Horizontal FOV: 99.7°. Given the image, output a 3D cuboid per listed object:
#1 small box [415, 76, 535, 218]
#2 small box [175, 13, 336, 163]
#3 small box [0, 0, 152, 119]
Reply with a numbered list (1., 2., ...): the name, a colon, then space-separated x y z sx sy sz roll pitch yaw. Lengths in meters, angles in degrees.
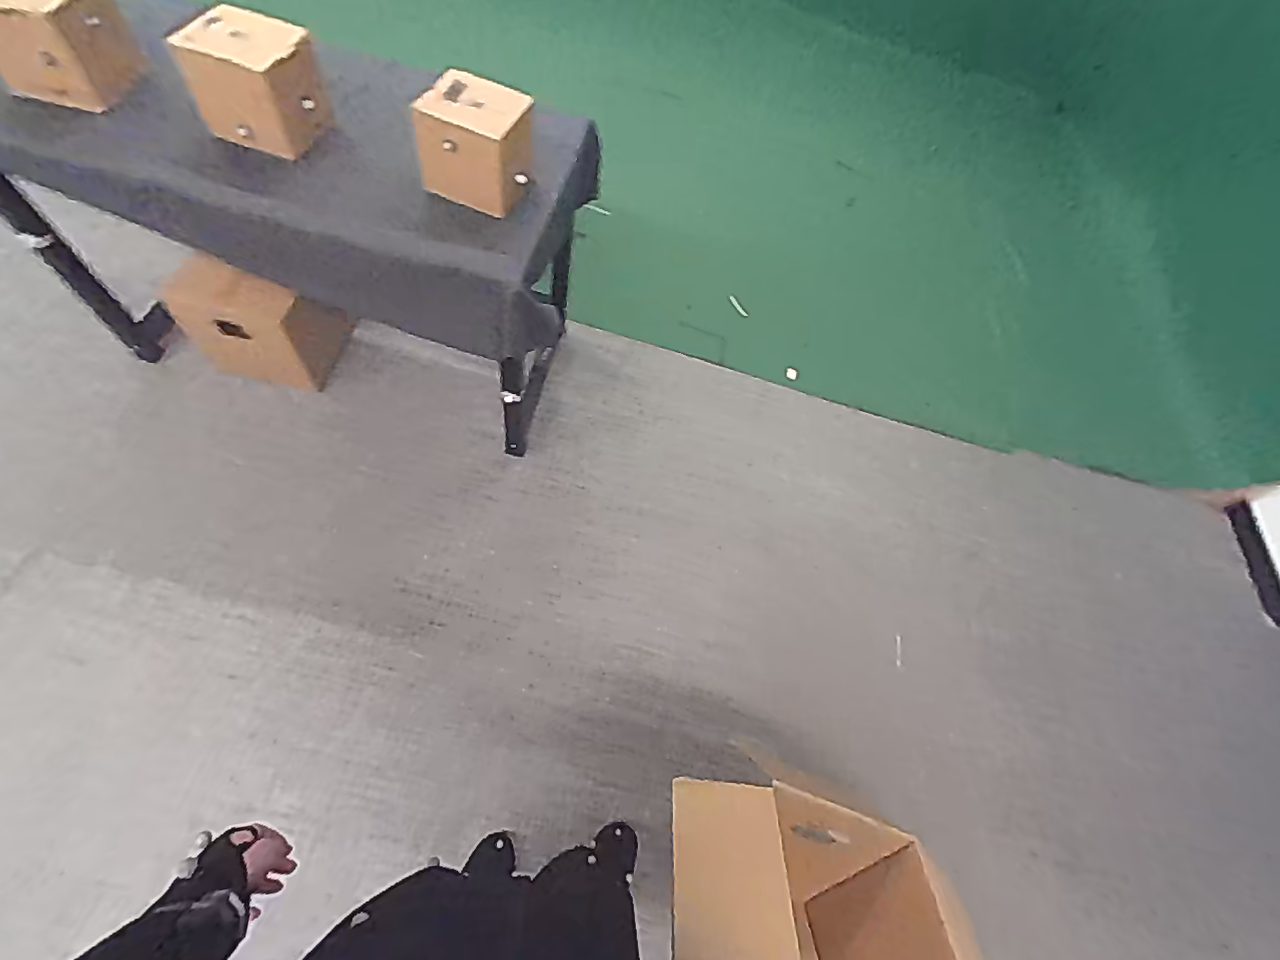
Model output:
1. small box: -0.328 -0.675 1.108 0.179 0.176 0.168 21 61 0
2. small box: -0.747 -0.772 1.080 0.179 0.176 0.168 17 60 -3
3. small box: -1.109 -0.839 1.044 0.168 0.176 0.179 9 59 -9
